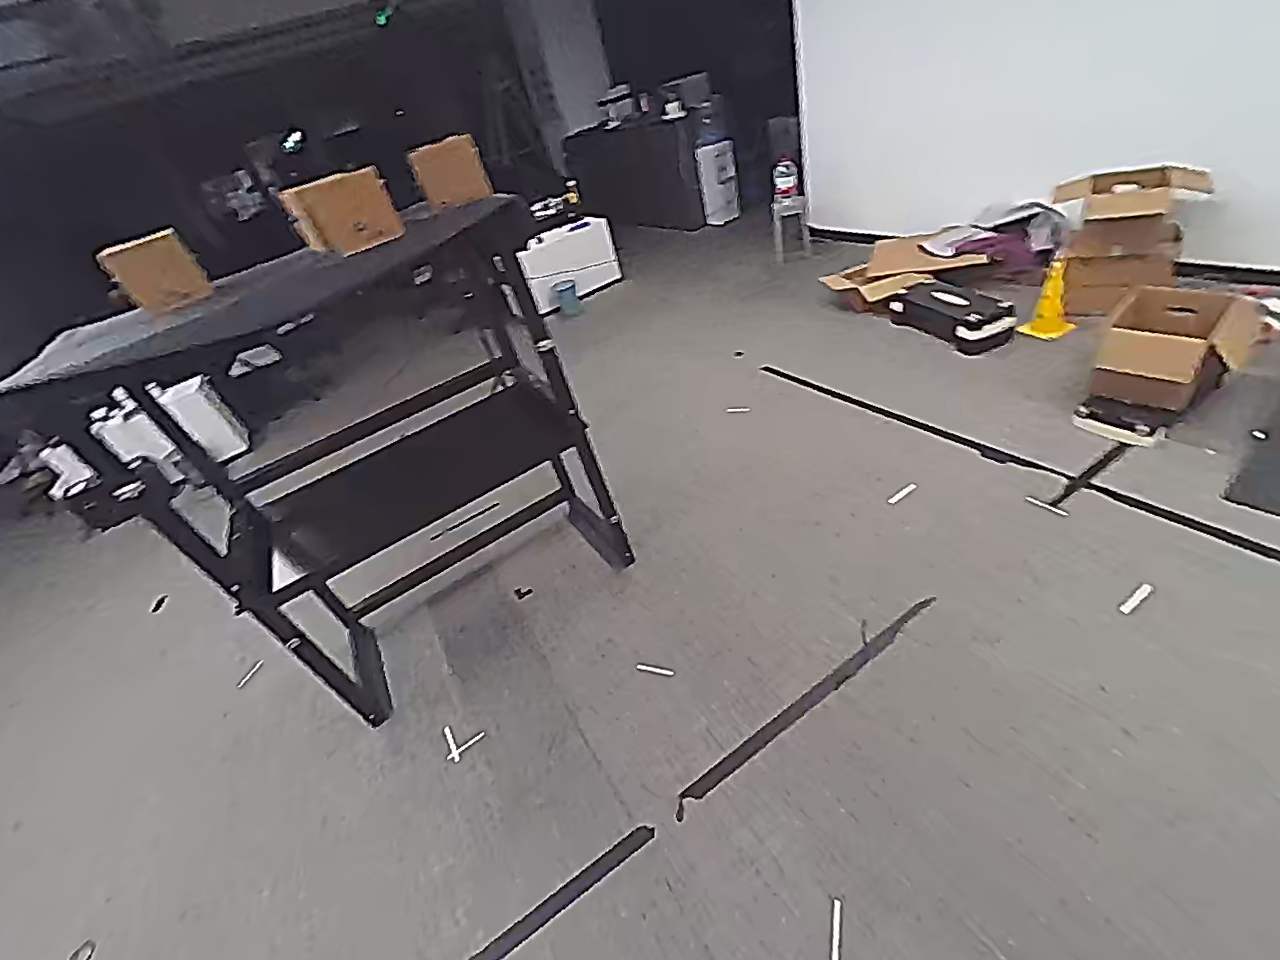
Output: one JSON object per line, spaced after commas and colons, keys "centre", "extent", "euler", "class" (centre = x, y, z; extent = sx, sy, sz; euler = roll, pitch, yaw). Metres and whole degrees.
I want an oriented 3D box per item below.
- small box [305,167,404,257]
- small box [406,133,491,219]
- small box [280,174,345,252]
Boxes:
{"centre": [-0.746, -0.699, 1.415], "extent": [0.168, 0.176, 0.179], "euler": [-31, 37, -16], "class": "small box"}
{"centre": [-0.531, -0.845, 1.509], "extent": [0.168, 0.176, 0.179], "euler": [-26, 35, -9], "class": "small box"}
{"centre": [-0.938, -0.799, 1.624], "extent": [0.168, 0.176, 0.179], "euler": [-38, 41, -24], "class": "small box"}
